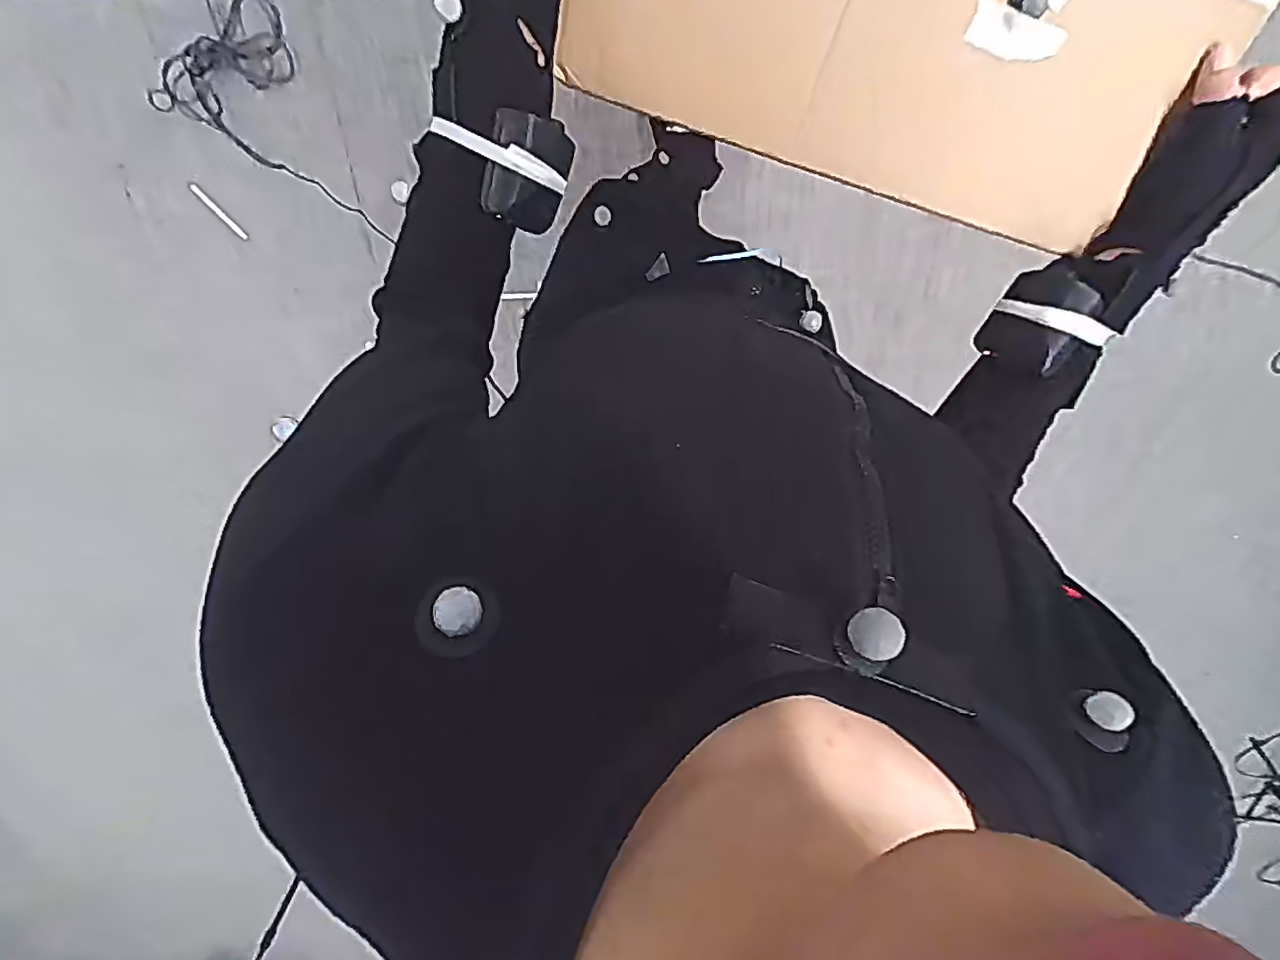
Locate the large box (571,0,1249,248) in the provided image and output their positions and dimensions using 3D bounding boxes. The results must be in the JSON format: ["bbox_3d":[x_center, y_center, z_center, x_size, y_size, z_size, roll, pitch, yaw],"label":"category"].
[{"bbox_3d":[0.185,-0.426,0.427,0.408,0.320,0.320,15,125,-7],"label":"large box"}]
